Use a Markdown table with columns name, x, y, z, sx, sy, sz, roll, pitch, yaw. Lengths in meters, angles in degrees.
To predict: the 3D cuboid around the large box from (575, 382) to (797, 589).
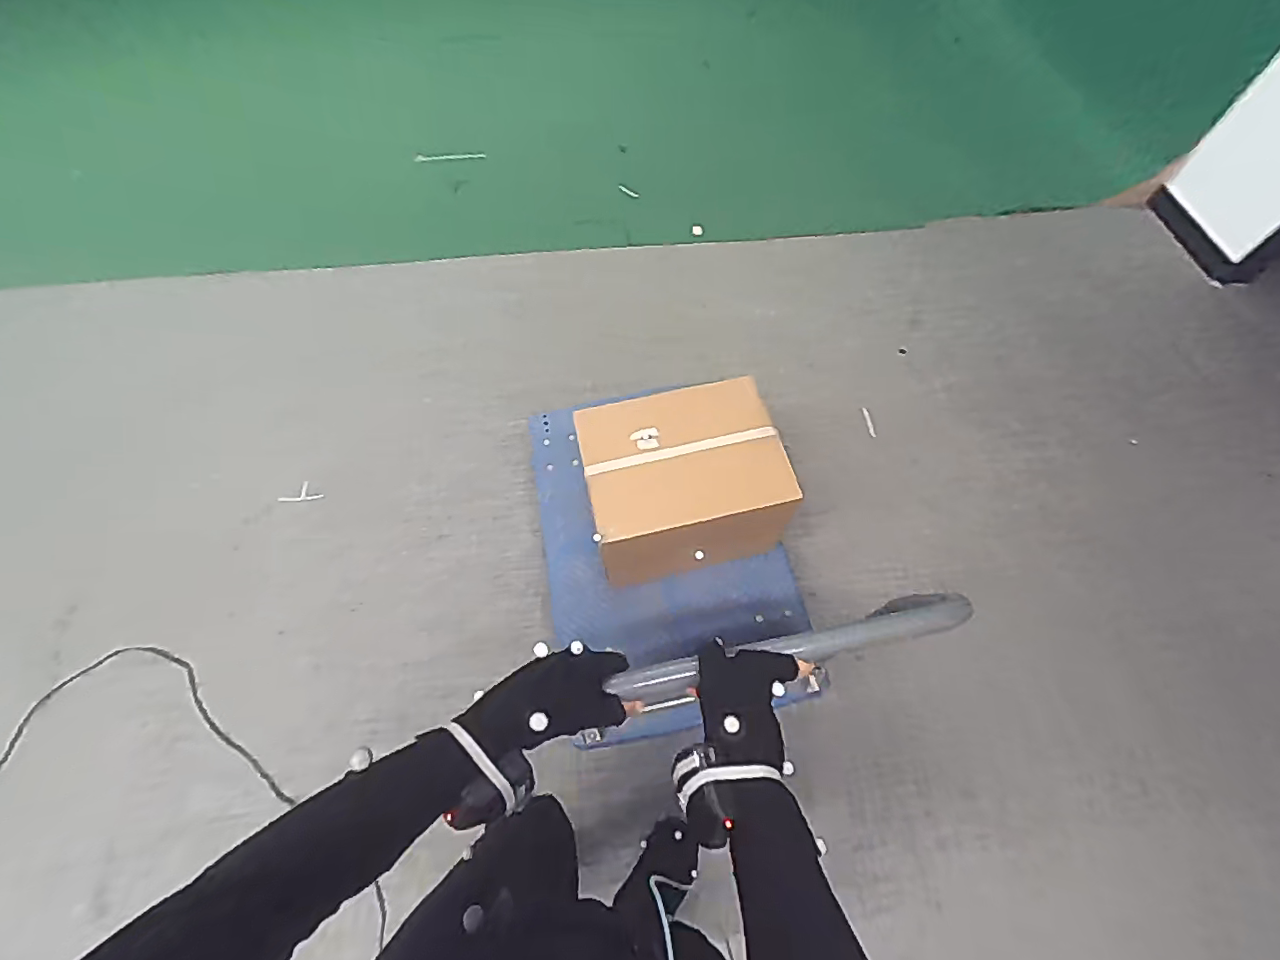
| name | x | y | z | sx | sy | sz | roll | pitch | yaw |
| --- | --- | --- | --- | --- | --- | --- | --- | --- | --- |
| large box | 0.092 | 0.024 | 1.251 | 0.408 | 0.320 | 0.320 | -13 | 62 | -4 |
